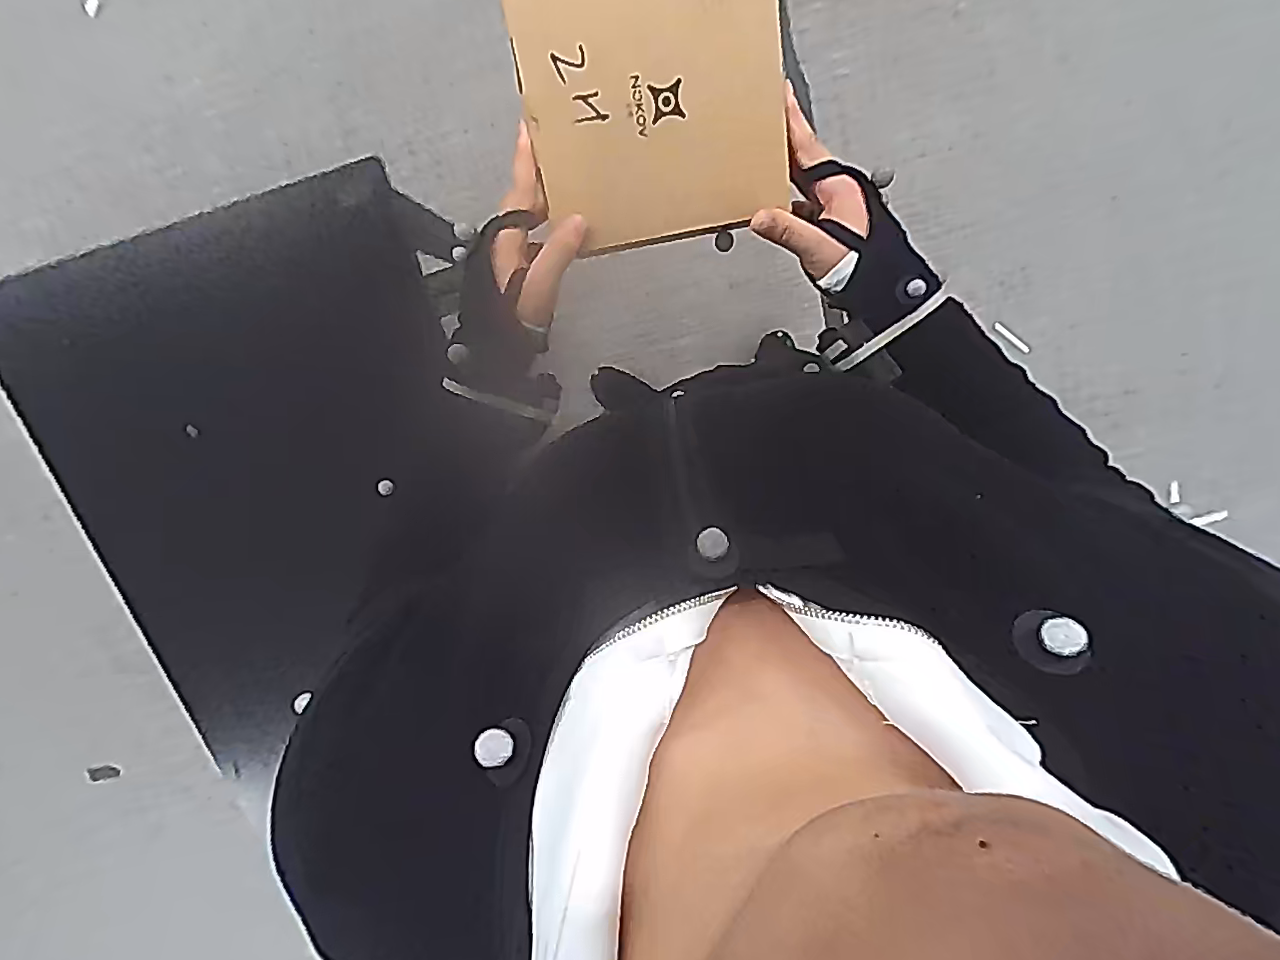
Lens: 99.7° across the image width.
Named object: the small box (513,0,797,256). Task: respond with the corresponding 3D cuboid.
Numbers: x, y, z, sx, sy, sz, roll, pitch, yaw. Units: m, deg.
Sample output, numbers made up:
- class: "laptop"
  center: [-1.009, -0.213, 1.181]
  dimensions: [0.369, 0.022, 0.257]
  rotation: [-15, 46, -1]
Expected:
- class: "small box"
  center: [0.015, -0.283, 0.437]
  dimensions: [0.179, 0.176, 0.168]
  rotation: [-9, 111, 4]
